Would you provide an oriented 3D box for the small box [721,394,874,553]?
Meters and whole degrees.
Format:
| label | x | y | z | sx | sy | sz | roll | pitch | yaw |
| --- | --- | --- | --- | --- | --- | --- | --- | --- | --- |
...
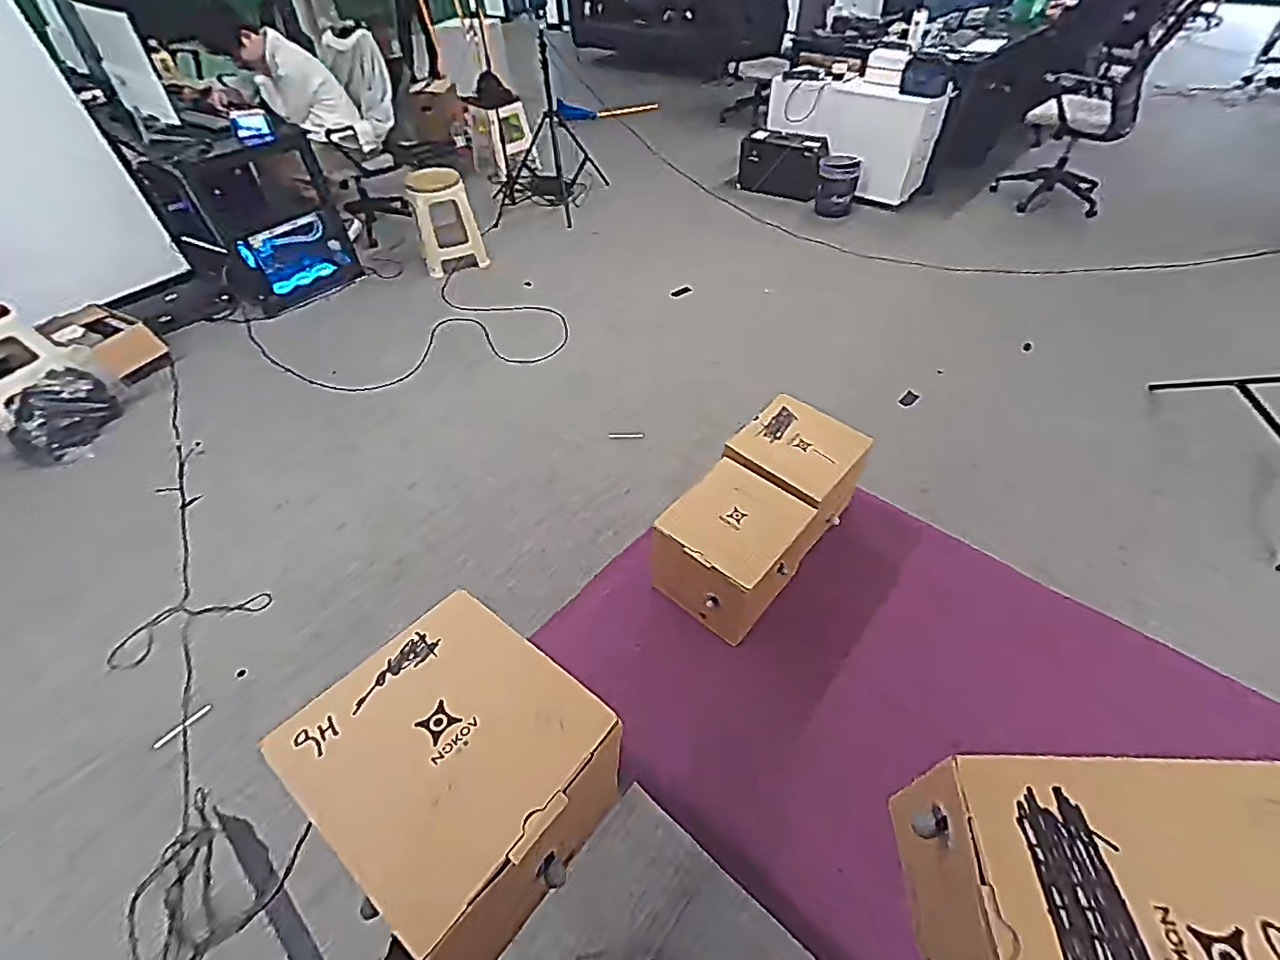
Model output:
| label | x | y | z | sx | sy | sz | roll | pitch | yaw |
| --- | --- | --- | --- | --- | --- | --- | --- | --- | --- |
| small box | 0.253 | -0.009 | 0.914 | 0.179 | 0.176 | 0.168 | 35 | 60 | 27 |

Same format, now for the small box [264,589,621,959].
| label | x | y | z | sx | sy | sz | roll | pitch | yaw |
| --- | --- | --- | --- | --- | --- | --- | --- | --- | --- |
| small box | -0.134 | 0.227 | 0.419 | 0.179 | 0.176 | 0.168 | 30 | 48 | 23 |
